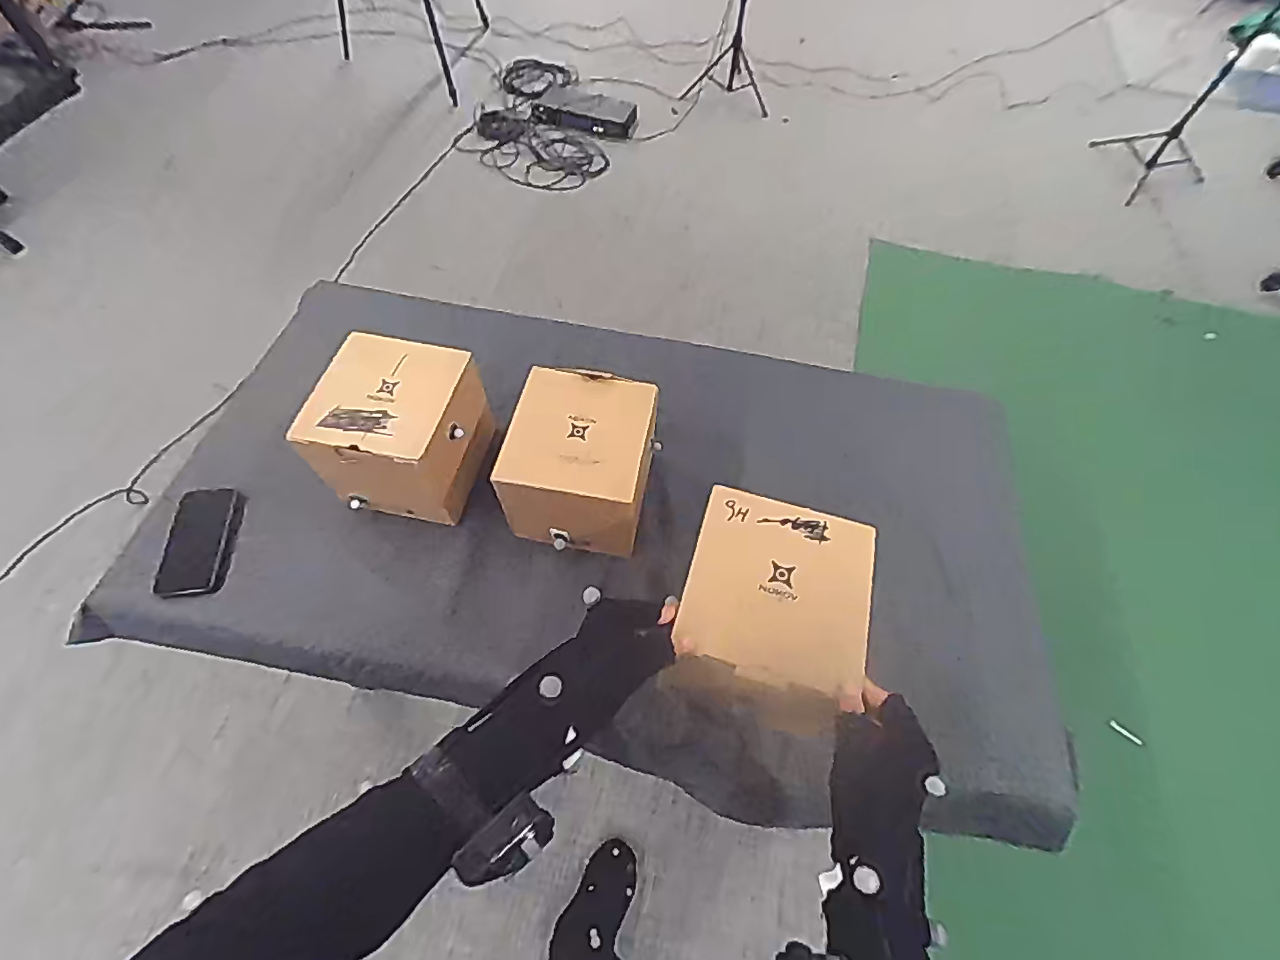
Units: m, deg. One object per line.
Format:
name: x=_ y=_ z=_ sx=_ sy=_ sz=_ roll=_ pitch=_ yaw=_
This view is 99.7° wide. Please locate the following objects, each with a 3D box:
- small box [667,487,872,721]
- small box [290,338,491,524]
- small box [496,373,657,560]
small box: x=0.129 y=0.139 z=0.579 sx=0.168 sy=0.176 sz=0.179 roll=15 pitch=59 yaw=8
small box: x=-0.316 y=-0.060 z=0.733 sx=0.168 sy=0.176 sz=0.179 roll=11 pitch=59 yaw=3
small box: x=-0.075 y=-0.013 z=0.723 sx=0.168 sy=0.176 sz=0.179 roll=9 pitch=61 yaw=3
